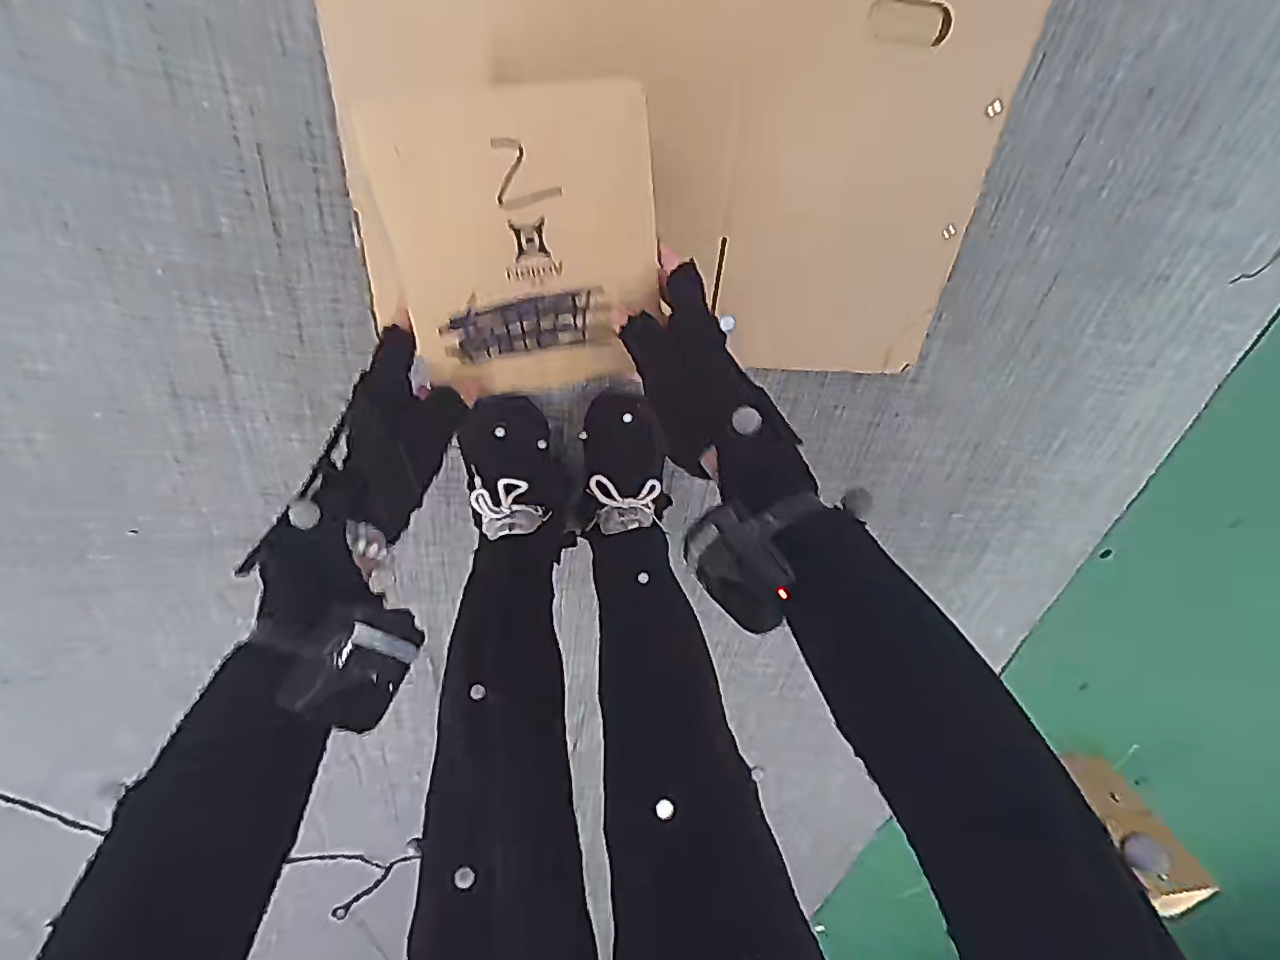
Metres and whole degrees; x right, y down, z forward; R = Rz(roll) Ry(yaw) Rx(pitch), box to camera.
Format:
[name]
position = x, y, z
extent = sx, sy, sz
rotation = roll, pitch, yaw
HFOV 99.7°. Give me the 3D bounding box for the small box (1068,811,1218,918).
[small box]
position = 1.243, 0.954, 1.350
extent = 0.179, 0.176, 0.168
rotation = 0, 124, -9
